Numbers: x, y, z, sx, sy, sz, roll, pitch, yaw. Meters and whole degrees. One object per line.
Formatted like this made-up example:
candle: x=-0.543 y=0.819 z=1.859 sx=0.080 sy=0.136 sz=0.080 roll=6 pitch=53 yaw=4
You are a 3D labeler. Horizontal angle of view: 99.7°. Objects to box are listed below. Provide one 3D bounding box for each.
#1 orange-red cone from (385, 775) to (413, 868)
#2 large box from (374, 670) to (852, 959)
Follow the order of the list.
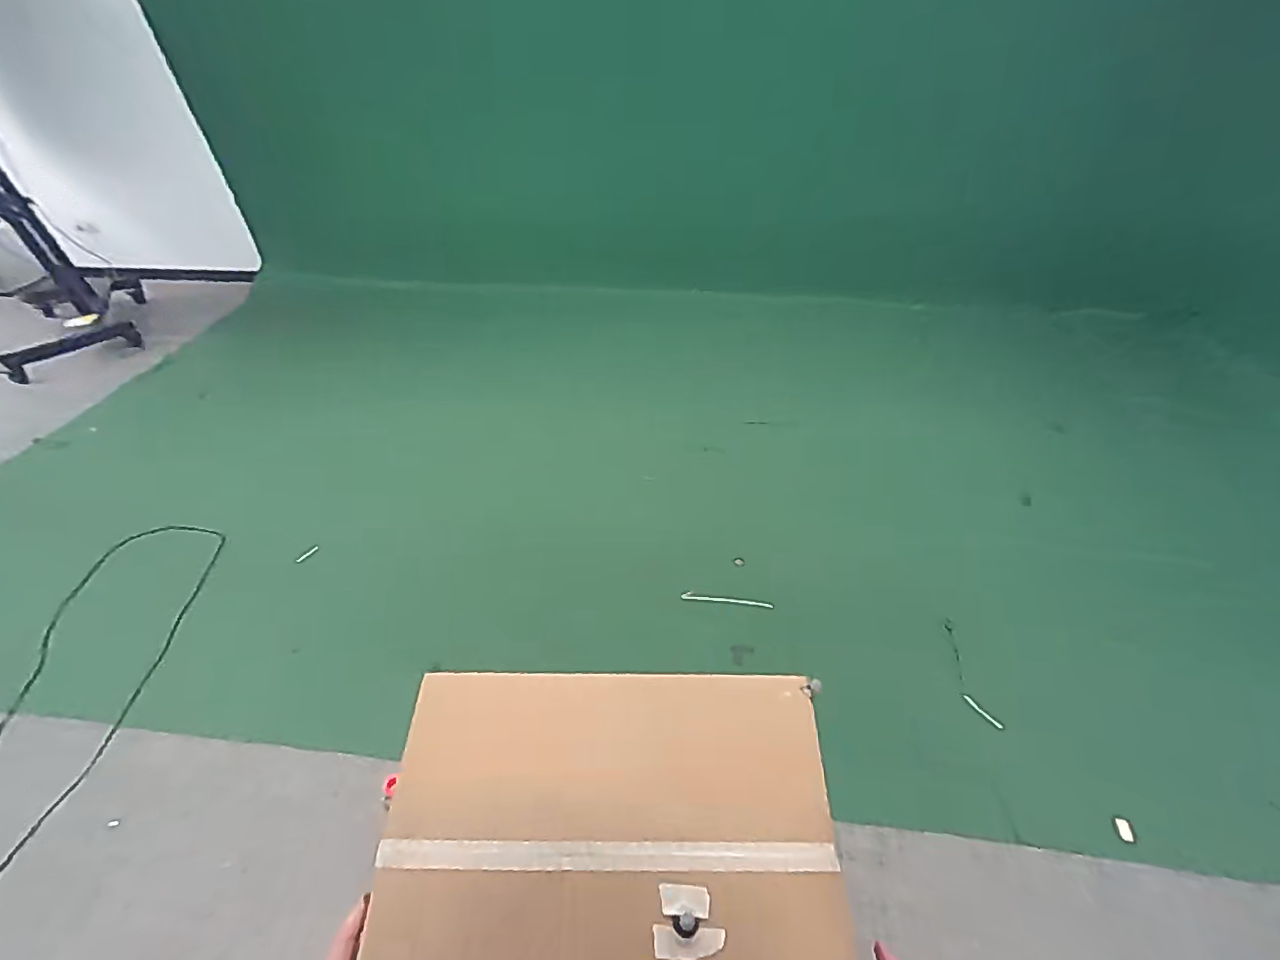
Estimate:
orange-red cone: x=-0.533 y=0.794 z=1.292 sx=0.199 sy=0.360 sz=0.198 roll=8 pitch=43 yaw=13
large box: x=-0.024 y=0.420 z=0.613 sx=0.408 sy=0.320 sz=0.320 roll=0 pitch=55 yaw=0
